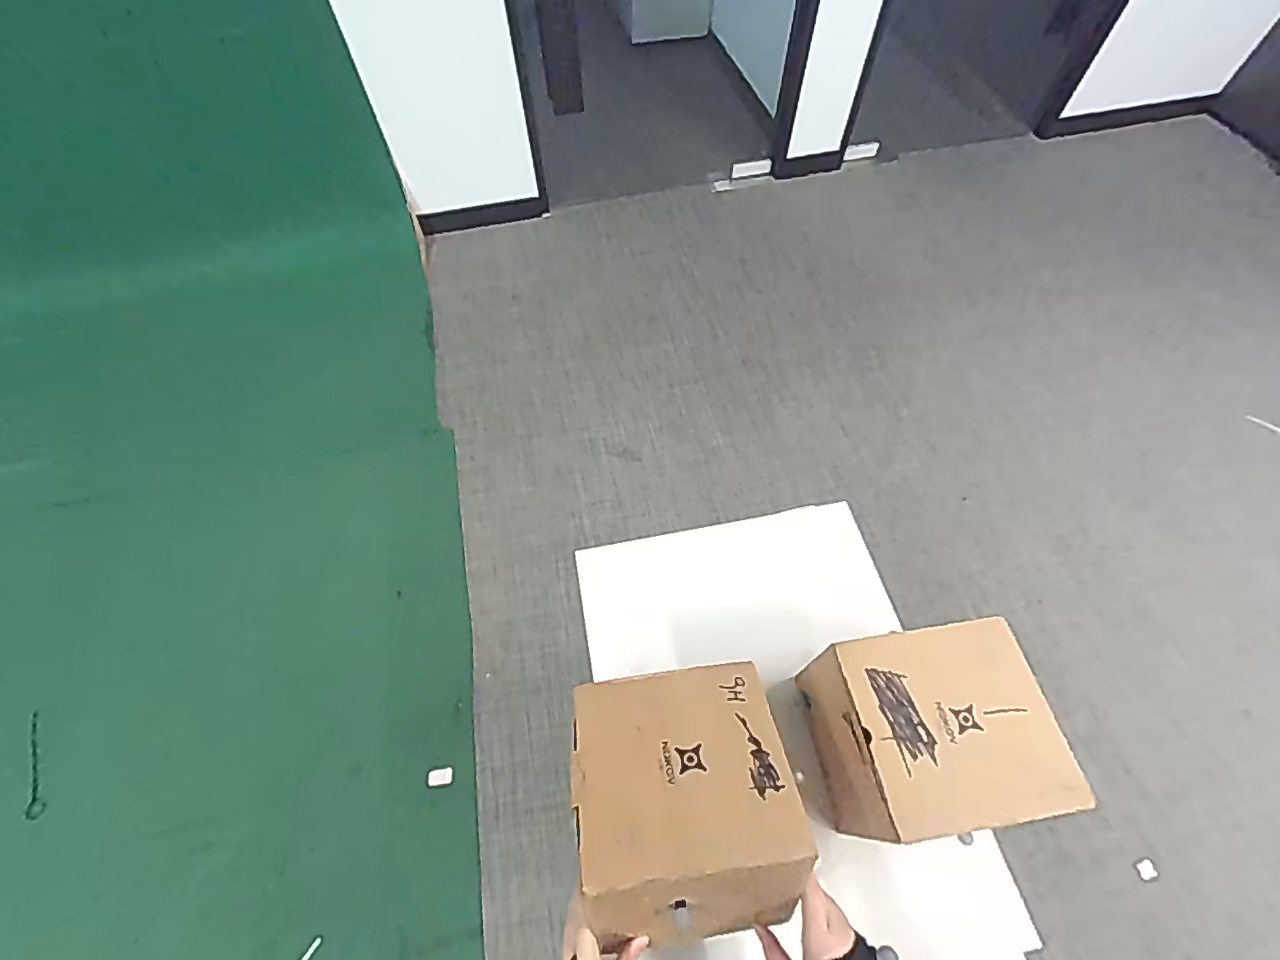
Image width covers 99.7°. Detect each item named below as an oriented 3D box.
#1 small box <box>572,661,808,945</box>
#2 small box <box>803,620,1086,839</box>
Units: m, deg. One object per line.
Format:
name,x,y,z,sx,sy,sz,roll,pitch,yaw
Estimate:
small box,0.036,0.297,0.502,0.179,0.176,0.168,-6,37,-4
small box,0.282,0.260,0.558,0.179,0.176,0.168,-8,60,-4
